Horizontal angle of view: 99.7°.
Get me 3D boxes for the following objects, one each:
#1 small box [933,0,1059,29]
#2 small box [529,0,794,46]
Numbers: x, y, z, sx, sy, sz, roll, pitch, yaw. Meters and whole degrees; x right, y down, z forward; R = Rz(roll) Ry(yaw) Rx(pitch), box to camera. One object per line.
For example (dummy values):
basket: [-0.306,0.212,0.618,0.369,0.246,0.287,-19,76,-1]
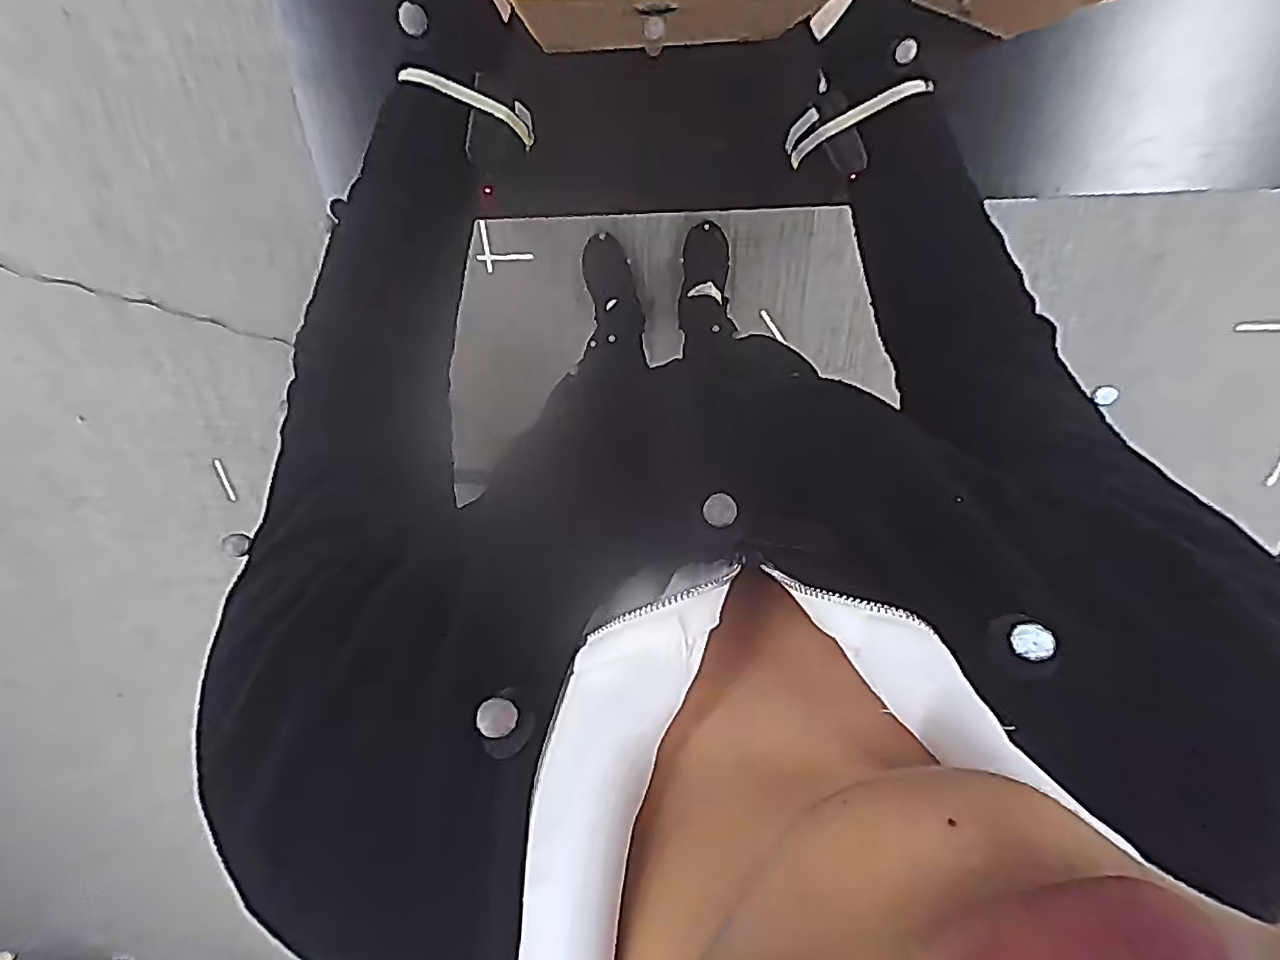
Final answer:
small box: [0.302,-0.493,0.416,0.168,0.176,0.179,14,118,-9]
small box: [0.013,-0.358,0.297,0.179,0.176,0.168,-4,121,-1]
